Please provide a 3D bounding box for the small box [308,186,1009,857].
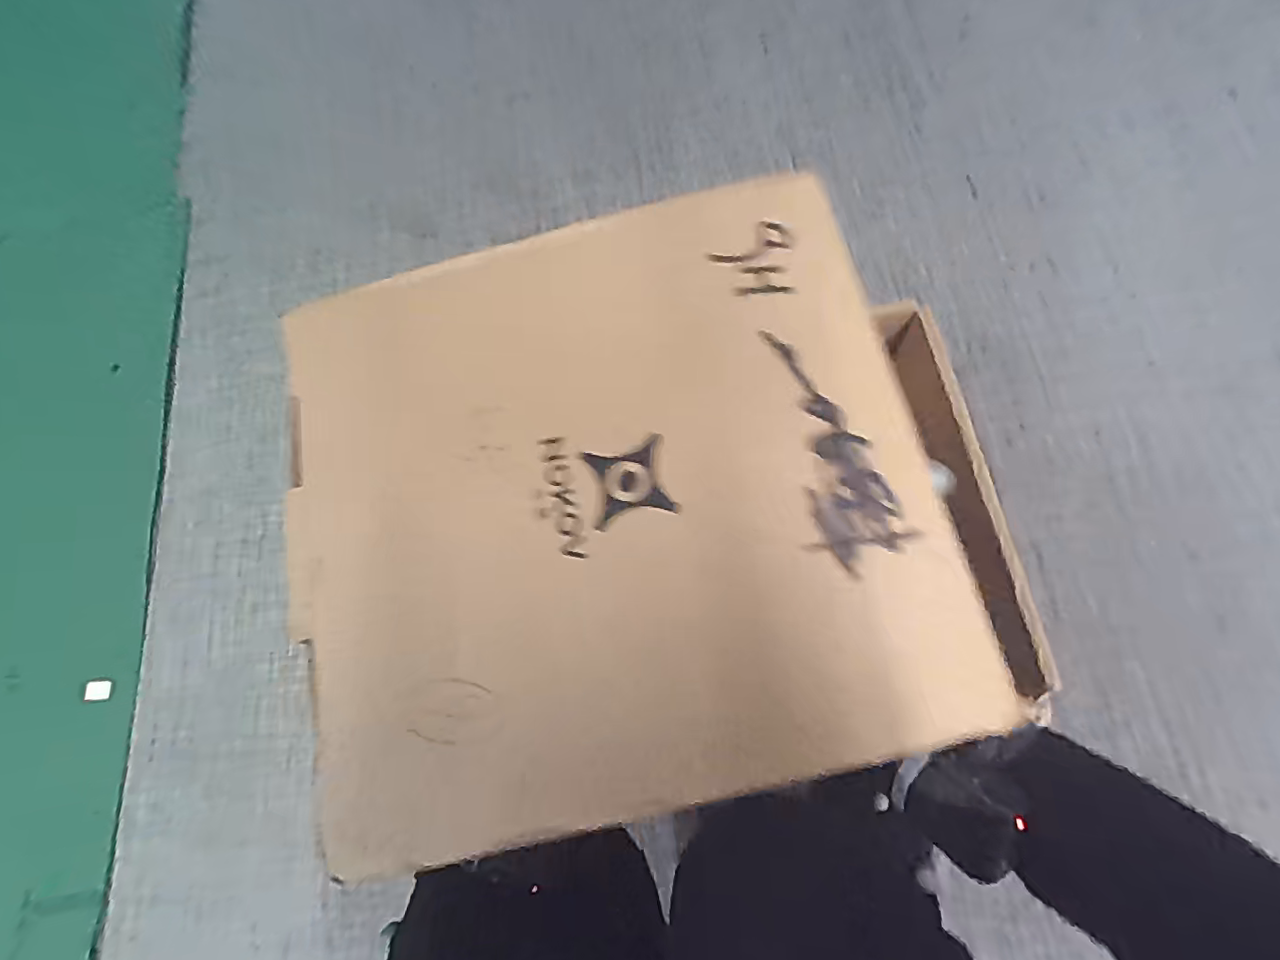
[{"bbox_3d":[-0.002,0.021,0.235,0.179,0.176,0.168,-16,75,0],"label":"small box"}]
